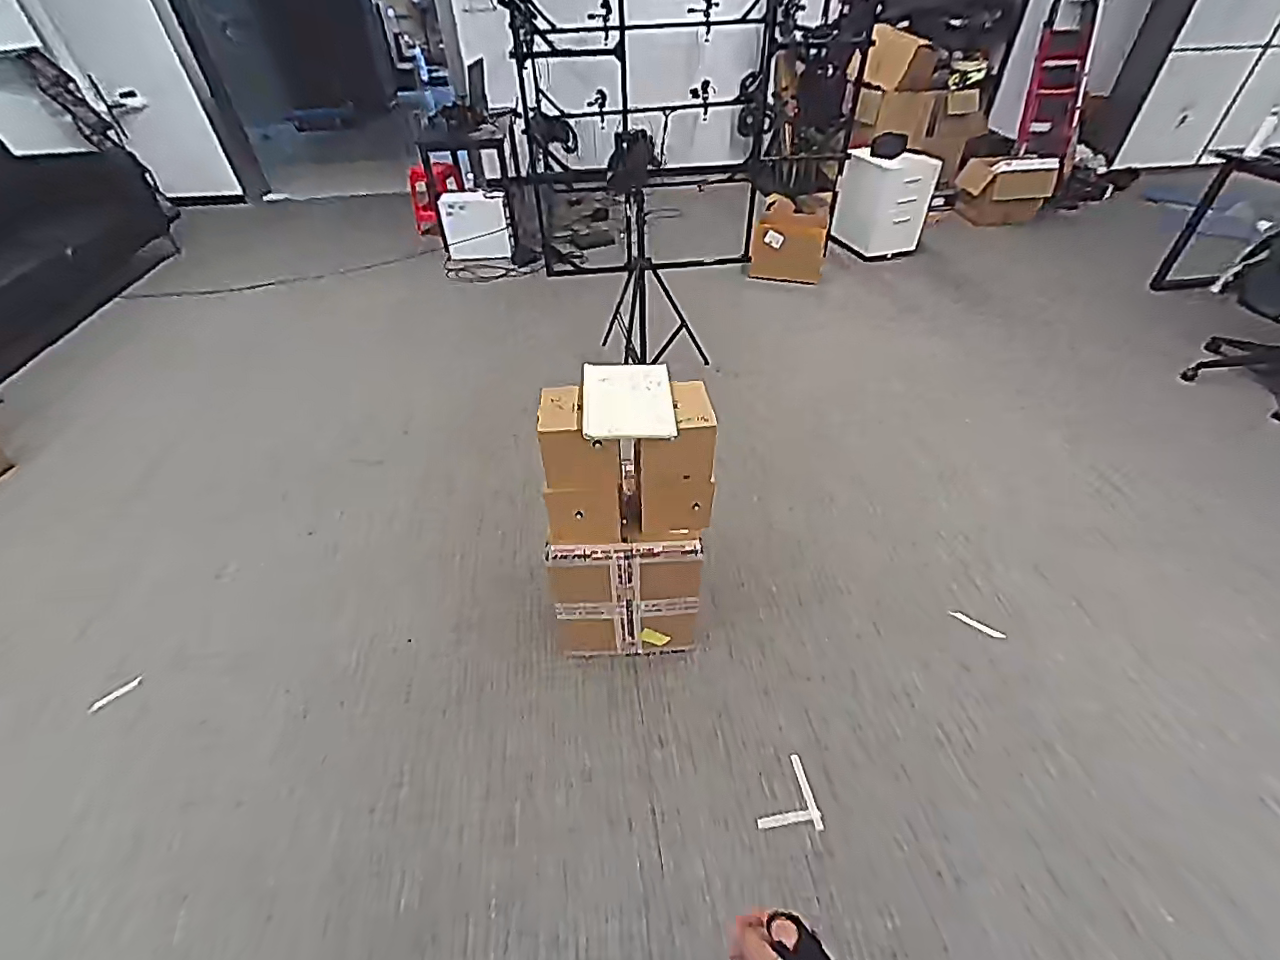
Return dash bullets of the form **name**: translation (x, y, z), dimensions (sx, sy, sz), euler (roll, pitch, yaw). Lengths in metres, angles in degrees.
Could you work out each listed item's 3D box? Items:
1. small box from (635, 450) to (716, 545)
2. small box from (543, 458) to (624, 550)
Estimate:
- **small box**: translation (0.082, 0.045, 1.366), dimensions (0.179, 0.176, 0.168), euler (-6, 44, -5)
- **small box**: translation (-0.133, 0.063, 1.353), dimensions (0.179, 0.176, 0.168), euler (-2, 44, 2)
